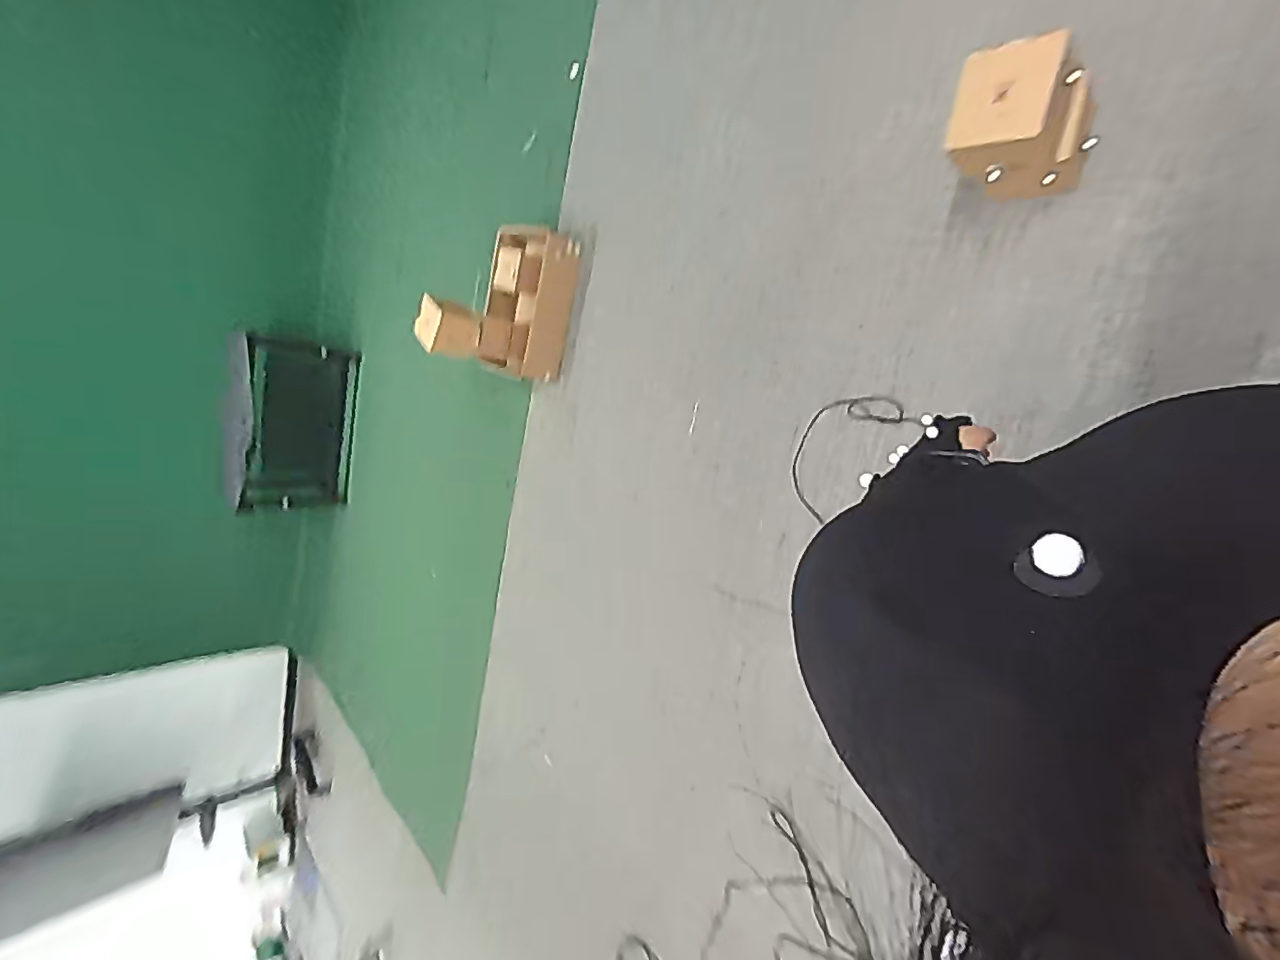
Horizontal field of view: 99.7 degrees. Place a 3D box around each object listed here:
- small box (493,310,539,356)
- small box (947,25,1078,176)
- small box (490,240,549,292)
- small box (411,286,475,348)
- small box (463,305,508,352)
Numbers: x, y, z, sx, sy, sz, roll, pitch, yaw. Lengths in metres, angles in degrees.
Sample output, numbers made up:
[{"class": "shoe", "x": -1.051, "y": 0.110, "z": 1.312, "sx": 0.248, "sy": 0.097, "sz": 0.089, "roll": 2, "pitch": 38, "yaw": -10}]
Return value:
[{"class": "small box", "x": -0.582, "y": -0.657, "z": 2.430, "sx": 0.179, "sy": 0.176, "sz": 0.168, "roll": 21, "pitch": 104, "yaw": 40}, {"class": "small box", "x": 0.738, "y": -0.732, "z": 1.067, "sx": 0.168, "sy": 0.176, "sz": 0.179, "roll": 20, "pitch": 104, "yaw": 42}, {"class": "small box", "x": -0.530, "y": -0.942, "z": 2.384, "sx": 0.179, "sy": 0.176, "sz": 0.168, "roll": 28, "pitch": 109, "yaw": 38}, {"class": "small box", "x": -0.790, "y": -0.650, "z": 2.177, "sx": 0.179, "sy": 0.176, "sz": 0.168, "roll": 48, "pitch": 120, "yaw": 32}, {"class": "small box", "x": -0.686, "y": -0.649, "z": 2.302, "sx": 0.179, "sy": 0.176, "sz": 0.168, "roll": 23, "pitch": 104, "yaw": 41}]
